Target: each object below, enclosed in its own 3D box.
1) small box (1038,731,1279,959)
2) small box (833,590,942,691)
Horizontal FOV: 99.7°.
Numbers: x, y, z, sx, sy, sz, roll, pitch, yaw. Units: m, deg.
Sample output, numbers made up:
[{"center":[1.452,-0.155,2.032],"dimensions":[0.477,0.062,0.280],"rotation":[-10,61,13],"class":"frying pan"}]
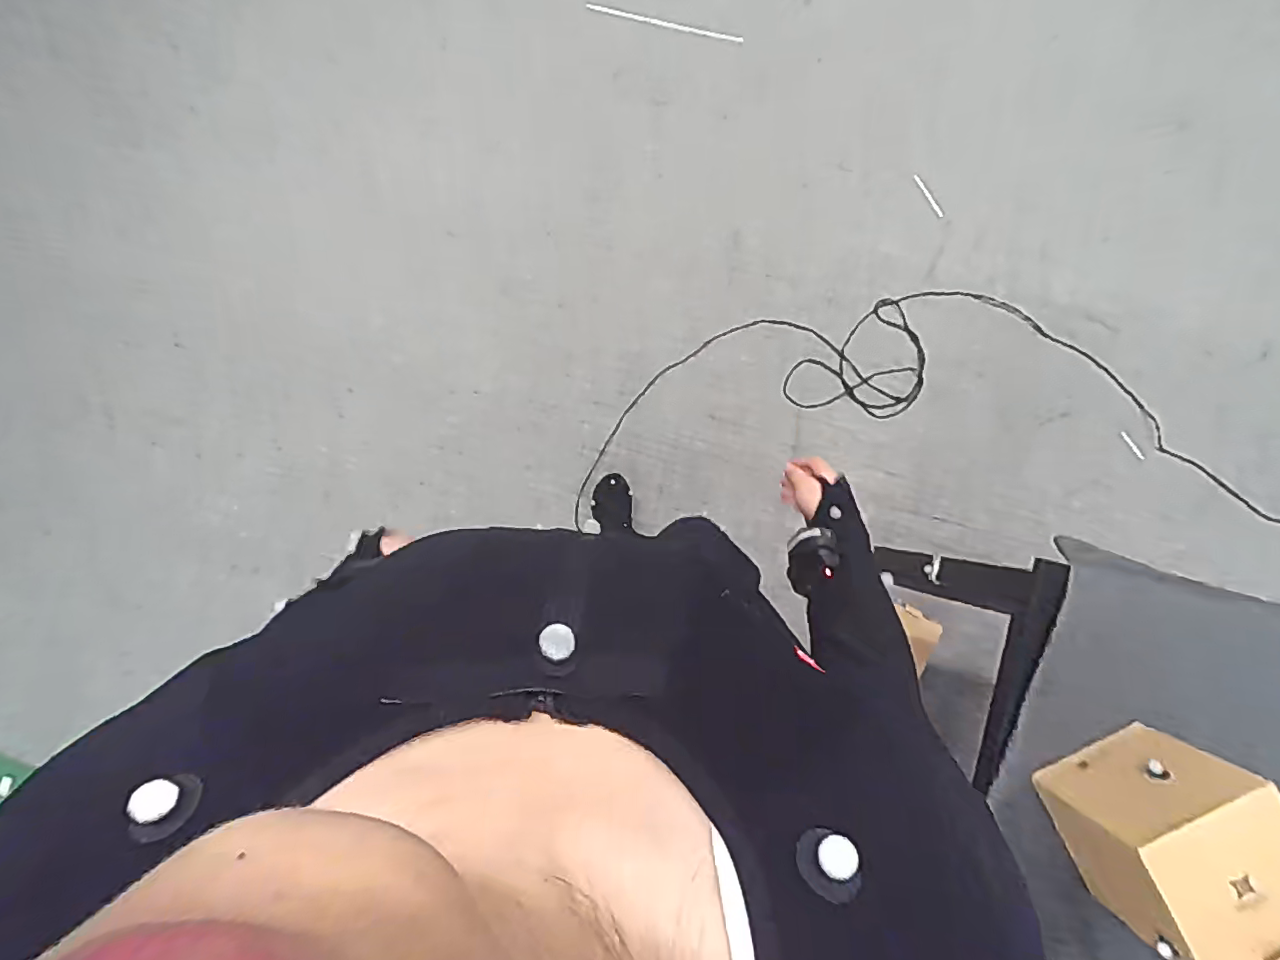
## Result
[{"center":[0.635,0.429,0.645],"dimensions":[0.168,0.176,0.179],"rotation":[-27,87,-1],"class":"small box"},{"center":[0.619,0.398,1.377],"dimensions":[0.168,0.176,0.179],"rotation":[27,87,3],"class":"small box"}]
